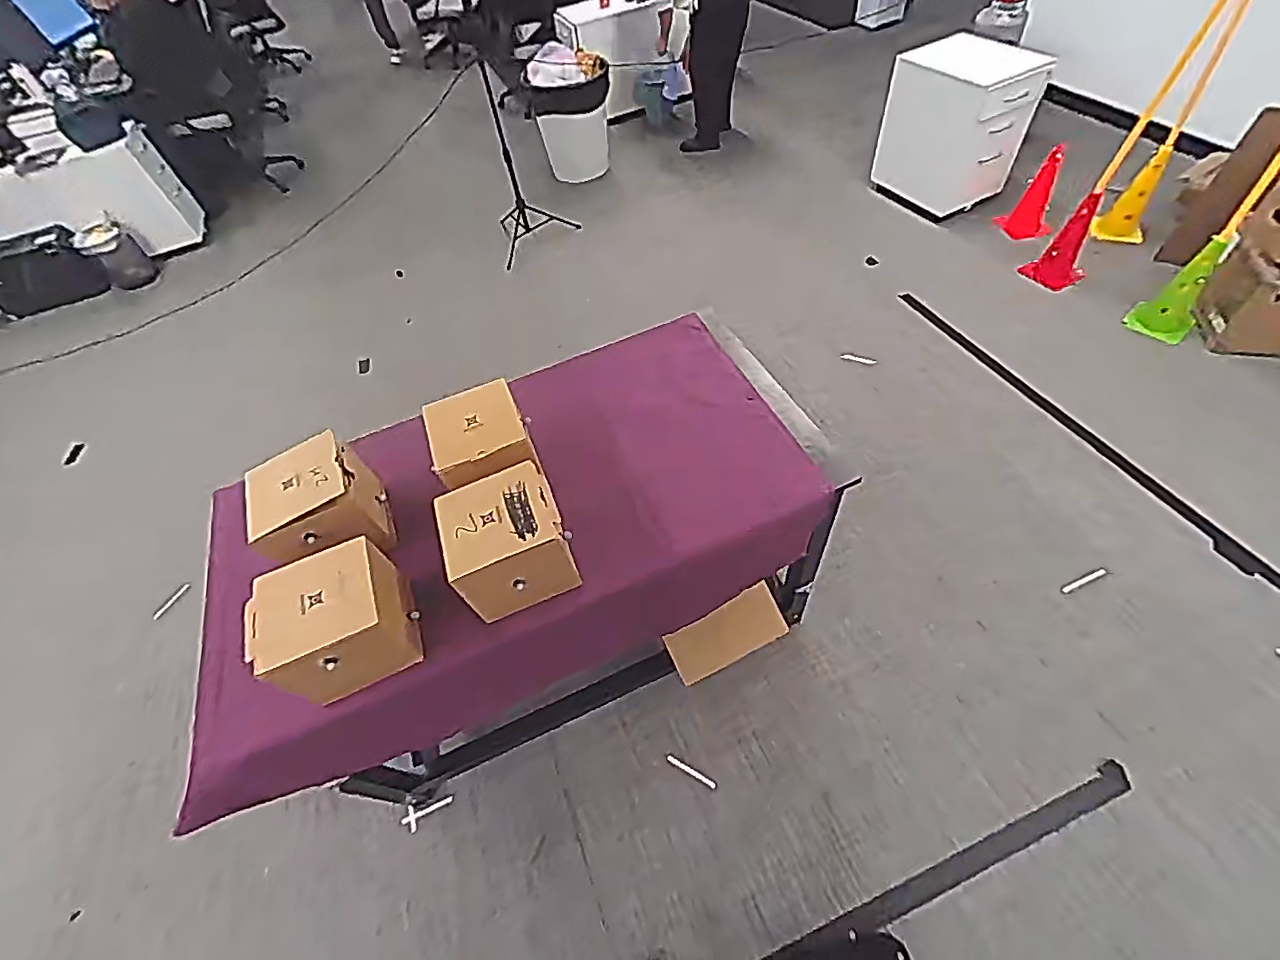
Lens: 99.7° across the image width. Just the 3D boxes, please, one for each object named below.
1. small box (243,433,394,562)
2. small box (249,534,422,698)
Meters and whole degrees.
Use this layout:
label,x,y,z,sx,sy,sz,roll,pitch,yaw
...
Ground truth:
label,x,y,z,sx,sy,sz,roll,pitch,yaw
small box,-0.585,0.052,0.994,0.179,0.176,0.168,-24,56,-10
small box,-0.477,0.221,0.860,0.179,0.176,0.168,-23,55,-10
